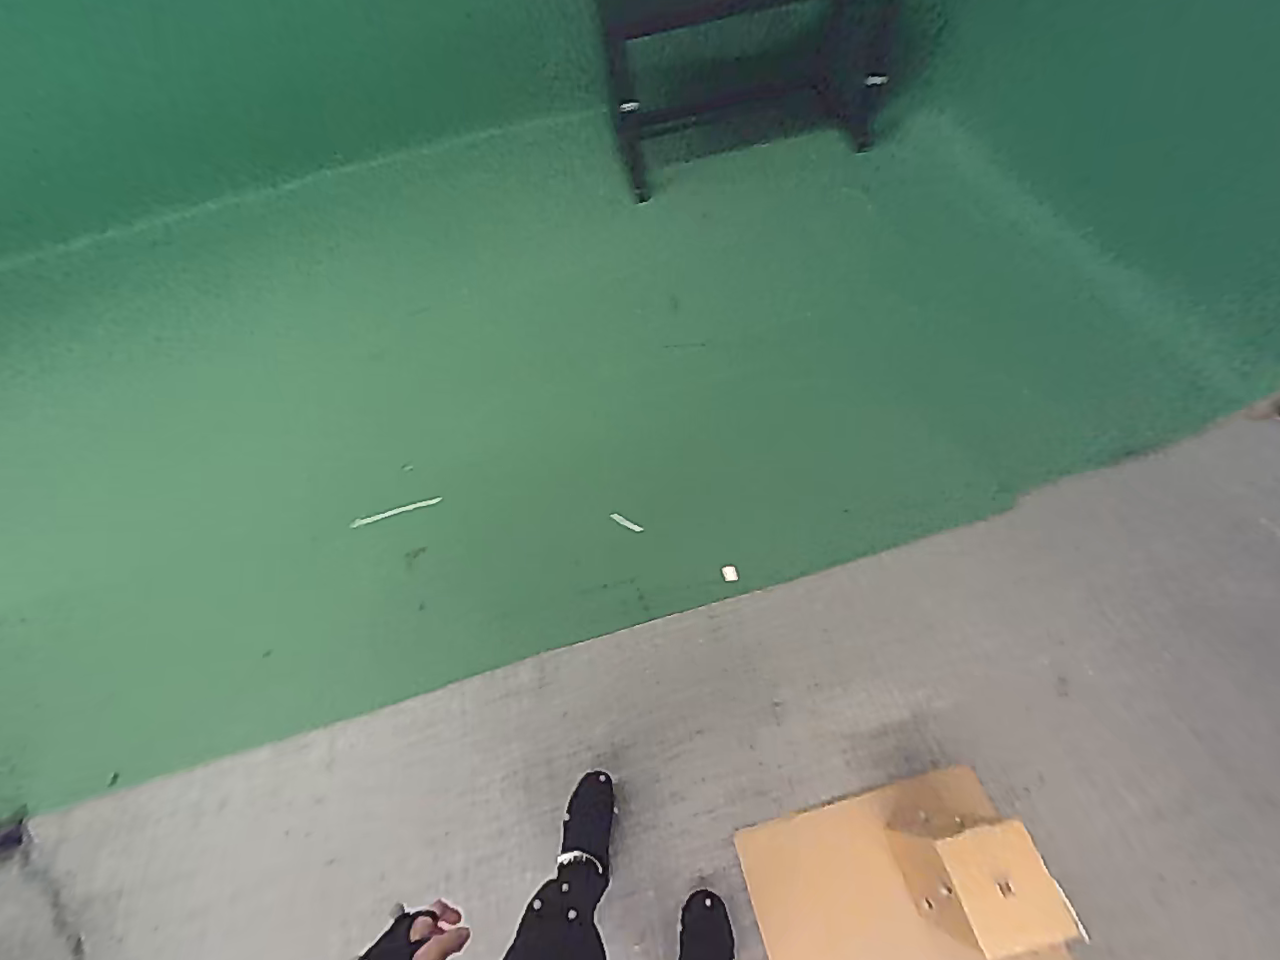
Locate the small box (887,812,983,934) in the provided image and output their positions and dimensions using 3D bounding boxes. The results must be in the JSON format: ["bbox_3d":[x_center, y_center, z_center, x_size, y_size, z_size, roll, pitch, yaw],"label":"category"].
[{"bbox_3d":[0.662,0.828,1.156,0.168,0.176,0.179,-14,58,-1],"label":"small box"}]

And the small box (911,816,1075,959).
[{"bbox_3d":[0.645,0.751,1.015,0.168,0.176,0.179,-15,58,-1],"label":"small box"}]
